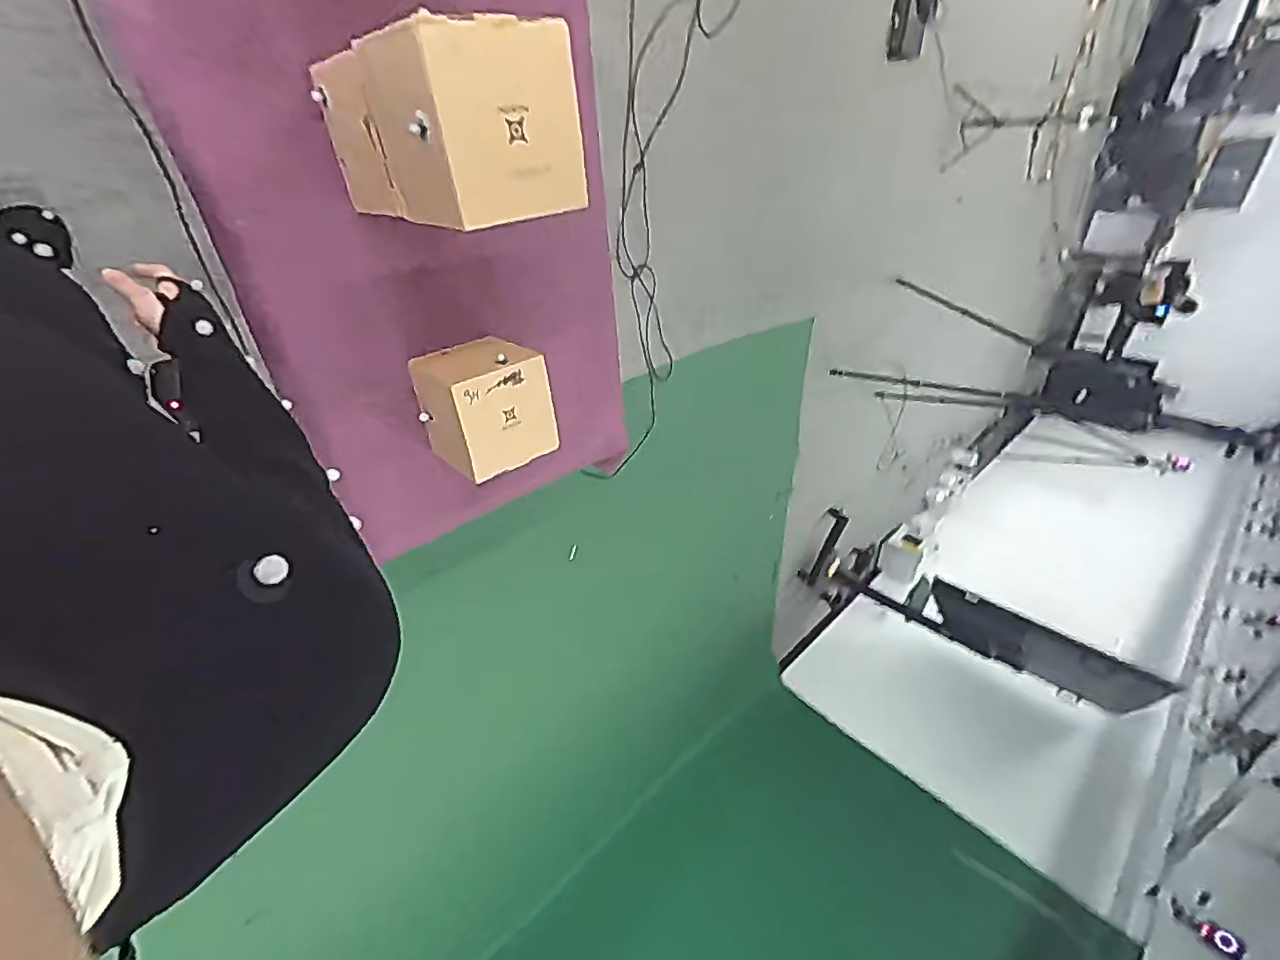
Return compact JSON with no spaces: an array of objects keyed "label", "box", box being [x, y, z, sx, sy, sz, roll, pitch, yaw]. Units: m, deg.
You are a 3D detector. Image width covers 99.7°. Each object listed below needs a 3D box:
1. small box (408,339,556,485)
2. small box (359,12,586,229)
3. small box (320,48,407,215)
[{"label":"small box","box":[-0.268,-0.123,0.923,0.168,0.176,0.179,-29,130,-34]},{"label":"small box","box":[-0.185,-0.392,0.606,0.168,0.176,0.179,-29,130,-32]},{"label":"small box","box":[-0.293,-0.452,0.713,0.179,0.176,0.168,-30,131,-33]}]
